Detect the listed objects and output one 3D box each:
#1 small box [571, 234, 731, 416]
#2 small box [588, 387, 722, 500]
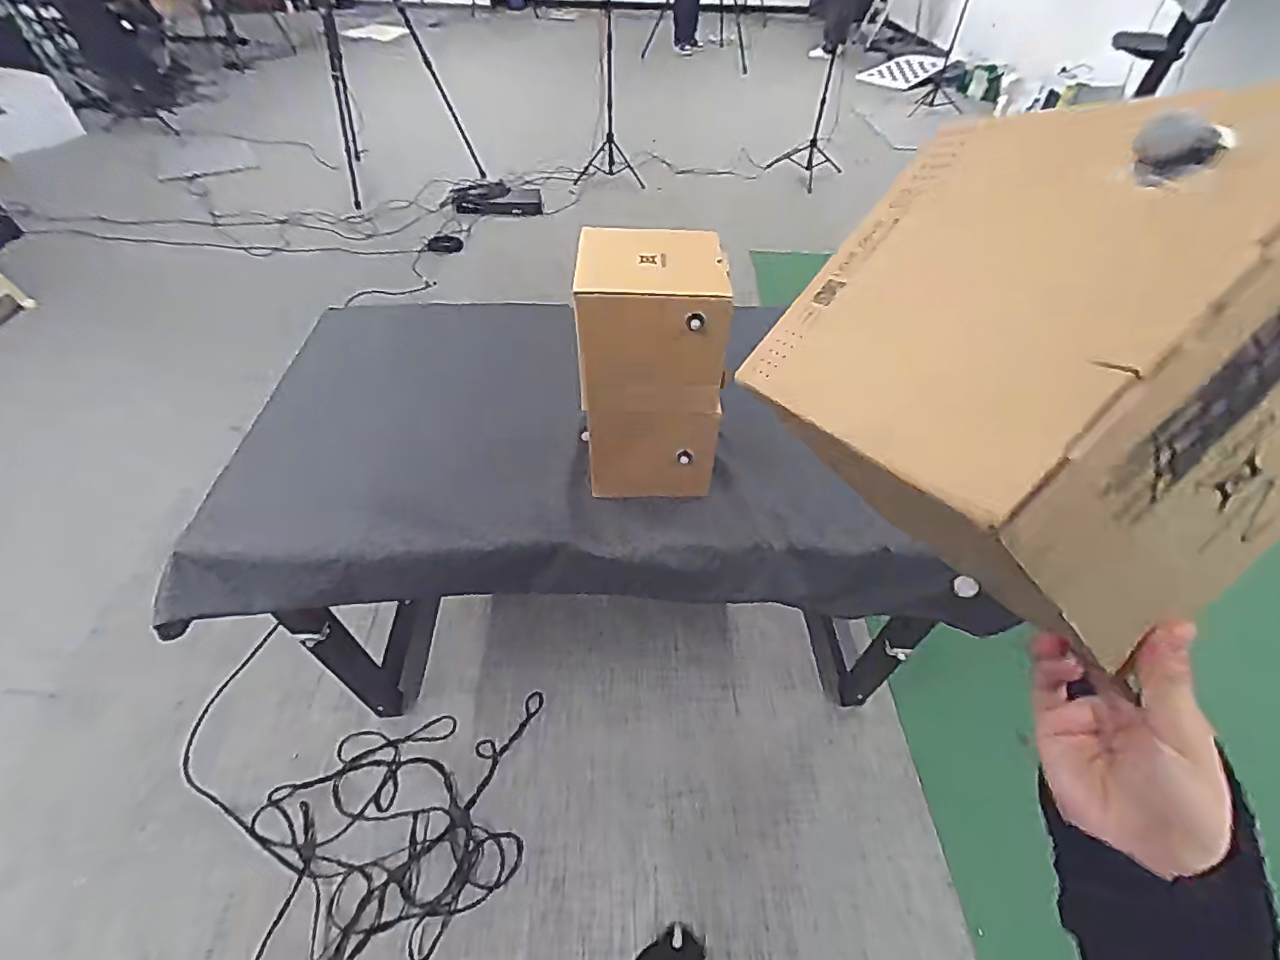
[{"bbox_3d":[0.011,-0.195,0.690,0.179,0.176,0.168,1,47,-2],"label":"small box"},{"bbox_3d":[0.016,-0.083,0.807,0.179,0.176,0.168,-2,47,-2],"label":"small box"}]
